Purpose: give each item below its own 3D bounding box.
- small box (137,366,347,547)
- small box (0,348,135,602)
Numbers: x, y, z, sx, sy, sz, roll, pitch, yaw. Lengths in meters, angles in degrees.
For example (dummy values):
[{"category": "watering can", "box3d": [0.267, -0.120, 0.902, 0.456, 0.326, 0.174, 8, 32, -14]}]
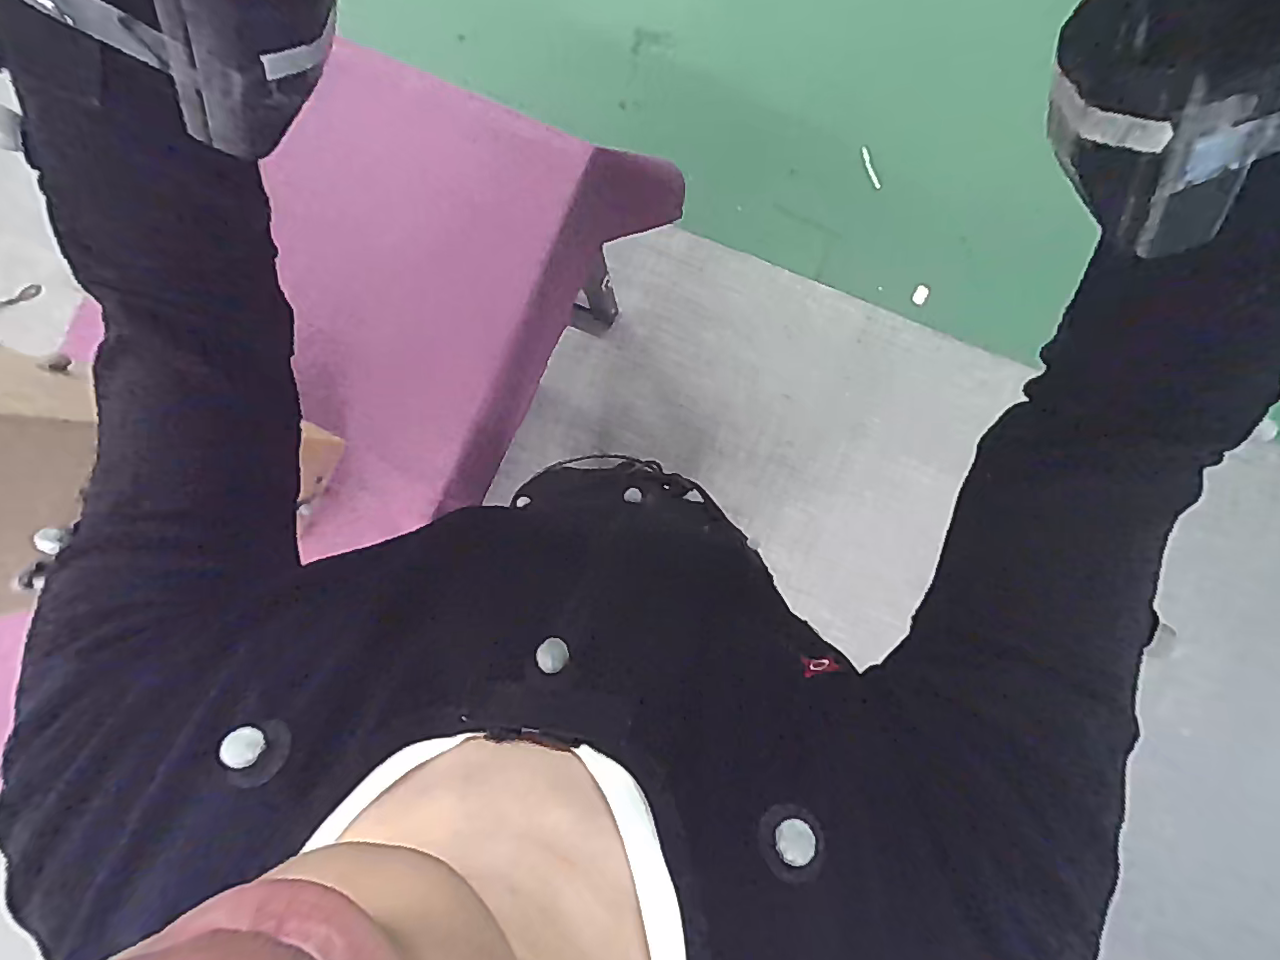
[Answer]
[{"category": "small box", "box3d": [-0.530, -0.021, 0.698, 0.179, 0.176, 0.168, 27, 91, 2]}, {"category": "small box", "box3d": [-0.520, -0.012, 0.370, 0.179, 0.176, 0.168, 26, 91, 3]}]
